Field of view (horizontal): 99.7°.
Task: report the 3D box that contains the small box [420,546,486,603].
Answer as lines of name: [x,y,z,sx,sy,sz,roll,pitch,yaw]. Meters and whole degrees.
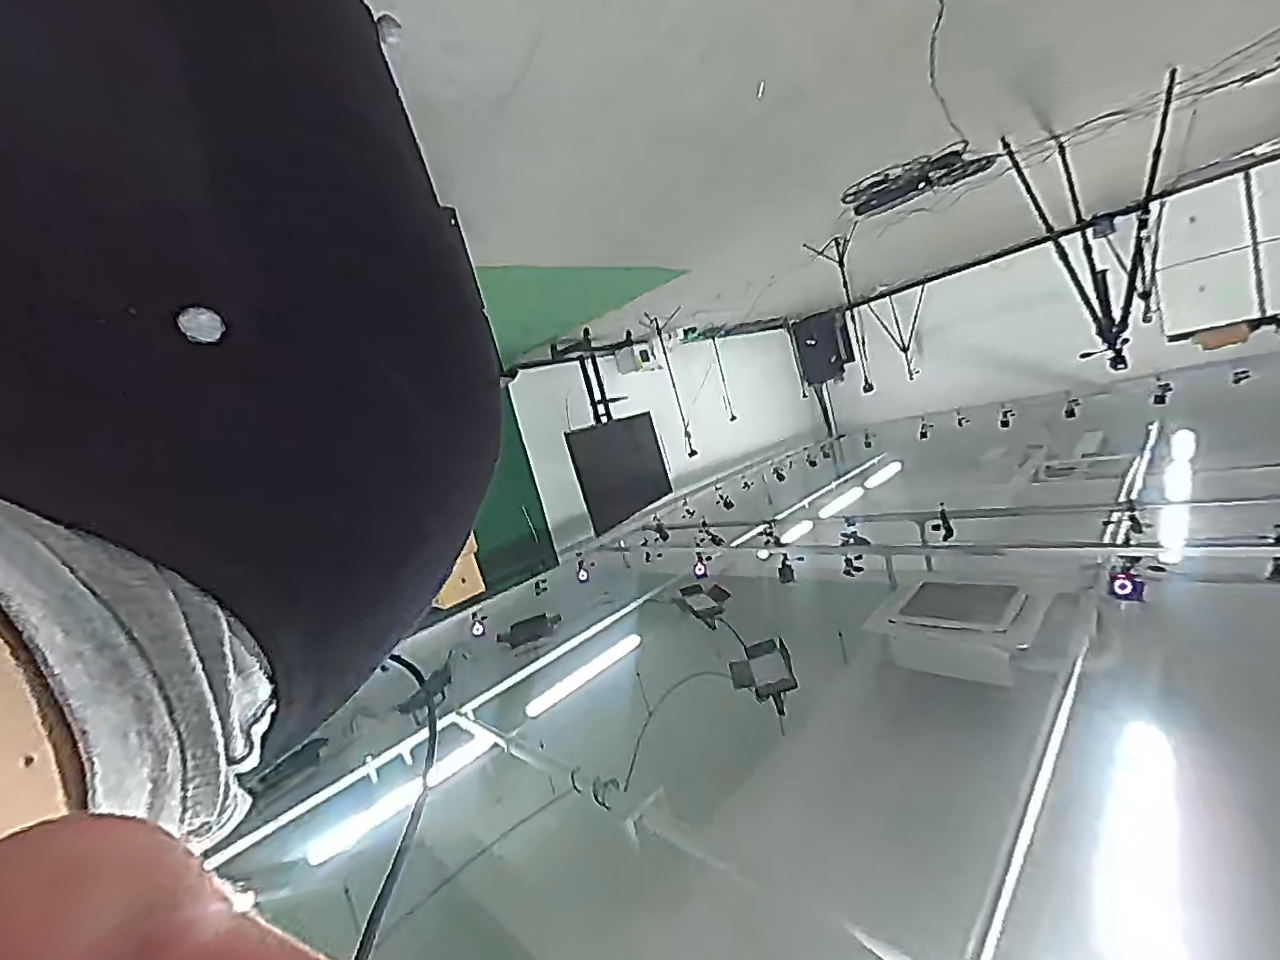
small box: [-0.758,0.376,2.185,0.179,0.176,0.168,-25,-170,-39]
